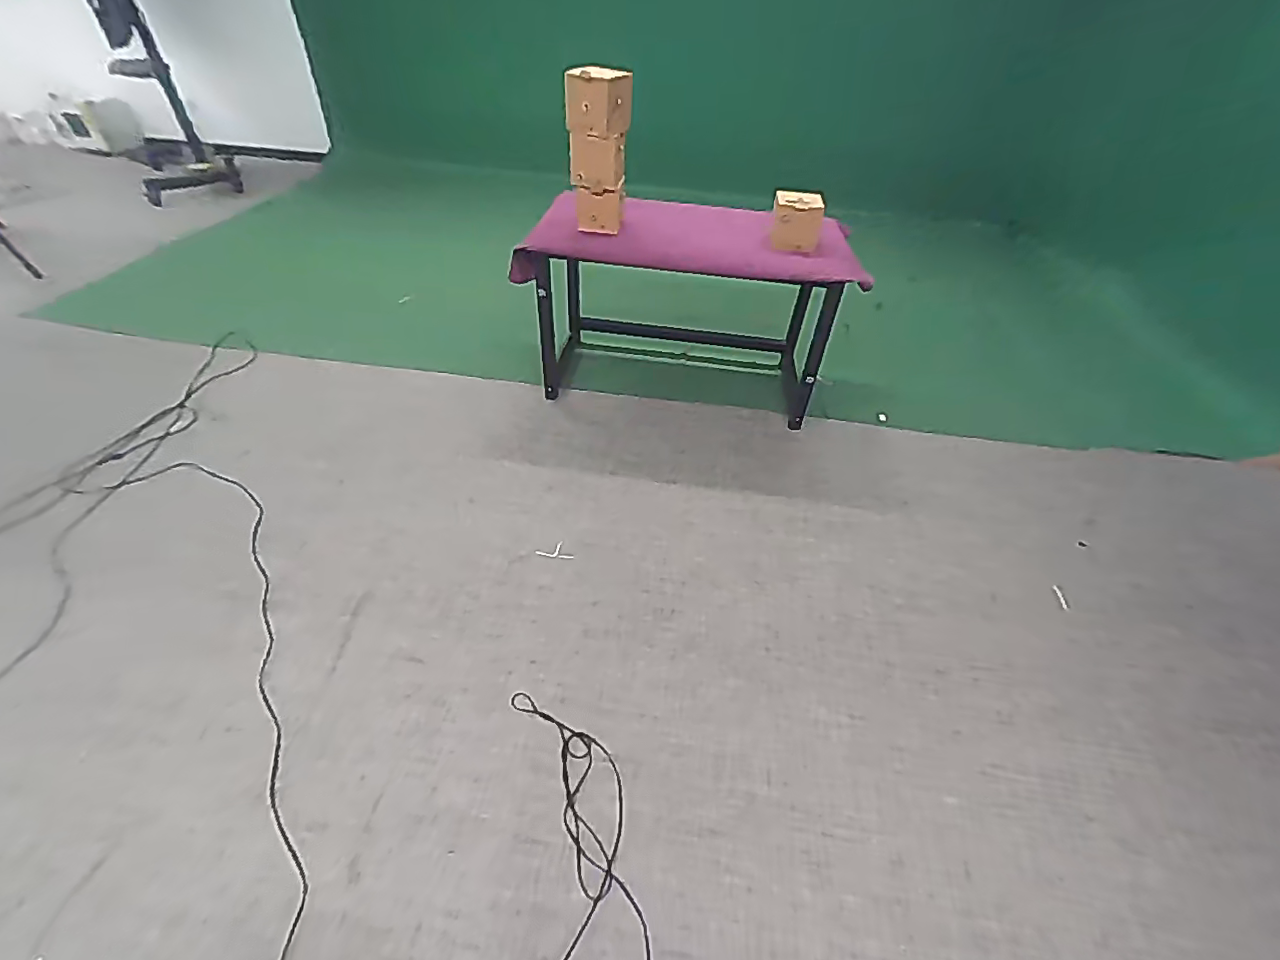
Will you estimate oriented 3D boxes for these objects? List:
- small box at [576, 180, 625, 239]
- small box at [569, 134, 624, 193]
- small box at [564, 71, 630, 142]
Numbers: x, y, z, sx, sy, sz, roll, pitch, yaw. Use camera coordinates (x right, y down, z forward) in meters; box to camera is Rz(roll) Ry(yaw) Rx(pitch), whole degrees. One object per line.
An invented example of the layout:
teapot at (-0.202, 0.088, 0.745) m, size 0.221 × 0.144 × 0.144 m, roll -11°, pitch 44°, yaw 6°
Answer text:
small box at (-0.155, -1.065, 2.110) m, size 0.168 × 0.176 × 0.179 m, roll 6°, pitch 44°, yaw 1°
small box at (-0.156, -1.174, 1.985) m, size 0.168 × 0.176 × 0.179 m, roll 10°, pitch 44°, yaw 4°
small box at (-0.145, -1.293, 1.873) m, size 0.168 × 0.176 × 0.179 m, roll 23°, pitch 48°, yaw 16°
